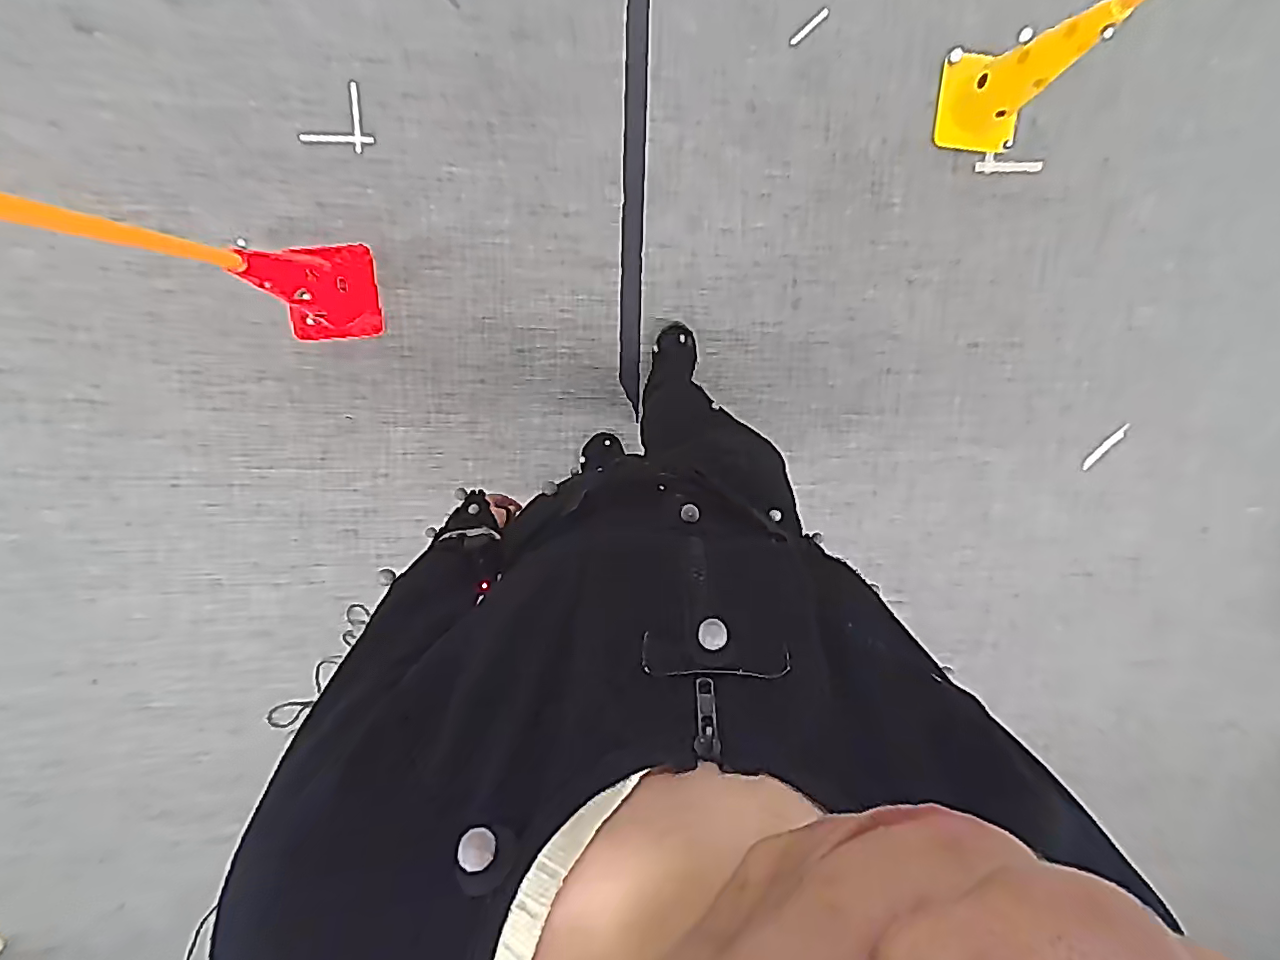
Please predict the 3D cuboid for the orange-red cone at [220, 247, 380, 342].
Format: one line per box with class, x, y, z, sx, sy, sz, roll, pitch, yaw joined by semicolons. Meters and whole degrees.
orange-red cone;-0.673;-0.380;1.038;0.199;0.360;0.198;-5;101;-6
